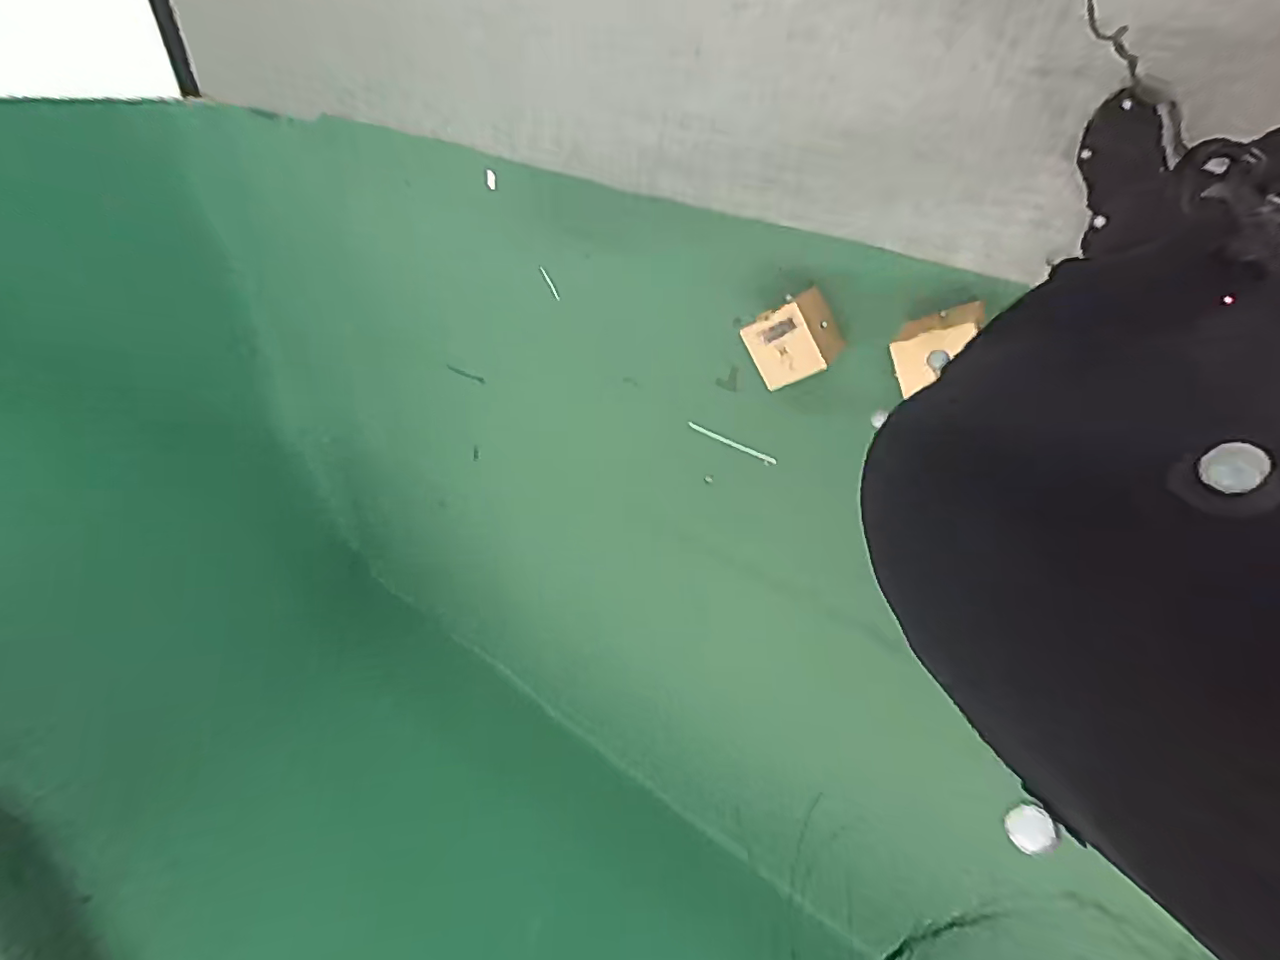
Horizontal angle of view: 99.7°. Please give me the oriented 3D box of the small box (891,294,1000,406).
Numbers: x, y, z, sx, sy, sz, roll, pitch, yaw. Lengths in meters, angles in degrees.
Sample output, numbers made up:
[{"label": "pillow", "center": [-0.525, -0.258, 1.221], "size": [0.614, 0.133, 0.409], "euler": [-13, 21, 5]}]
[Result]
[{"label": "small box", "center": [0.688, -0.290, 1.210], "size": [0.168, 0.176, 0.179], "euler": [-10, 111, 42]}]
